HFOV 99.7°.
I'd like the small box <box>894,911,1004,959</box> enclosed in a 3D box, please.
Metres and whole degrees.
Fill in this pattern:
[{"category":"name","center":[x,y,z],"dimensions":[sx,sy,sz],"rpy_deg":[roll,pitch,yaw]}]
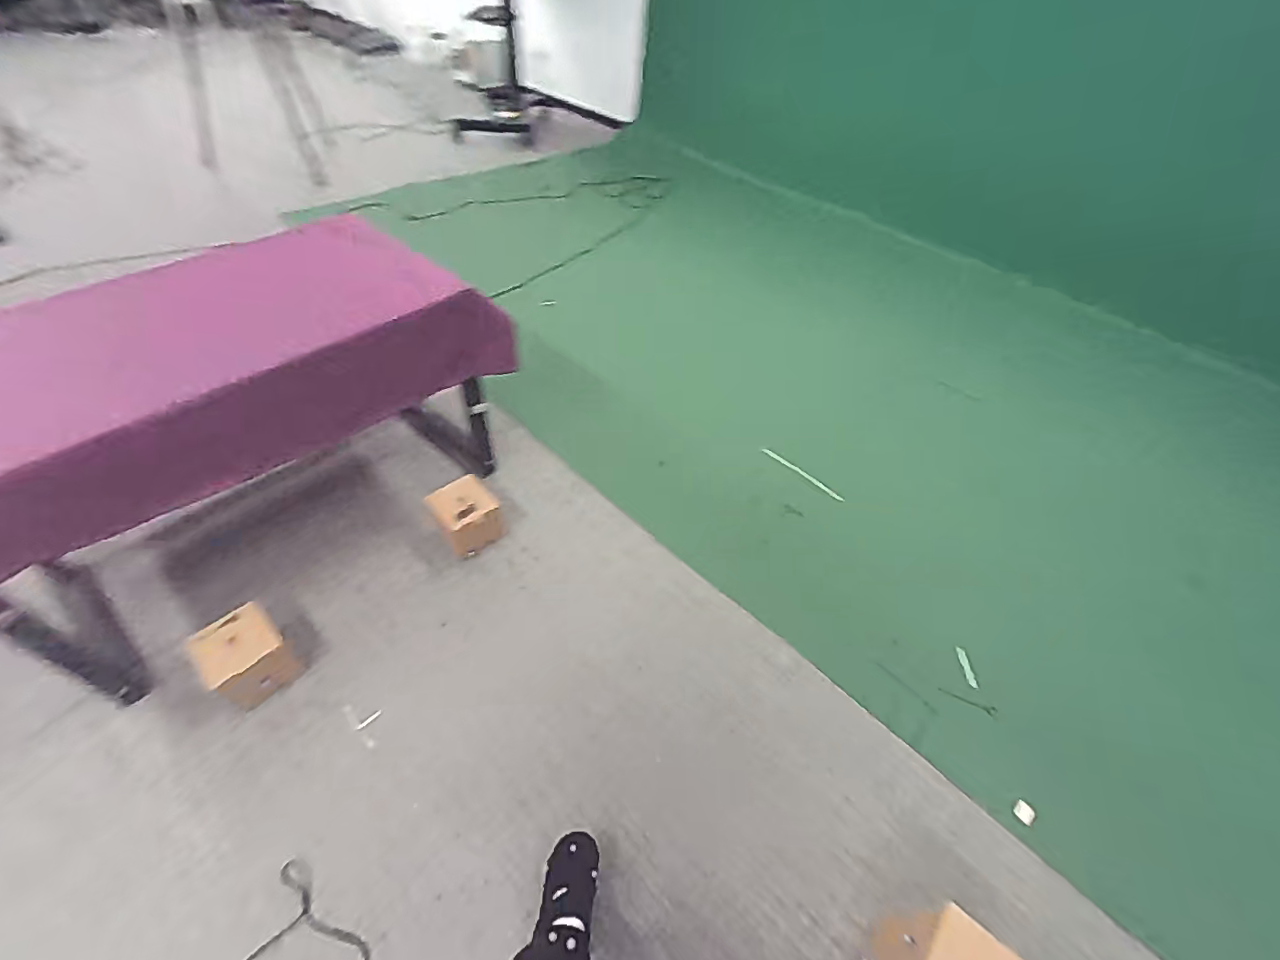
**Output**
[{"category":"small box","center":[0.546,0.901,0.934],"dimensions":[0.179,0.176,0.168],"rpy_deg":[36,55,25]}]

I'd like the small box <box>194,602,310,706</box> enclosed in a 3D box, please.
[{"category":"small box","center":[-1.003,0.461,1.411],"dimensions":[0.179,0.176,0.168],"rpy_deg":[39,56,25]}]
